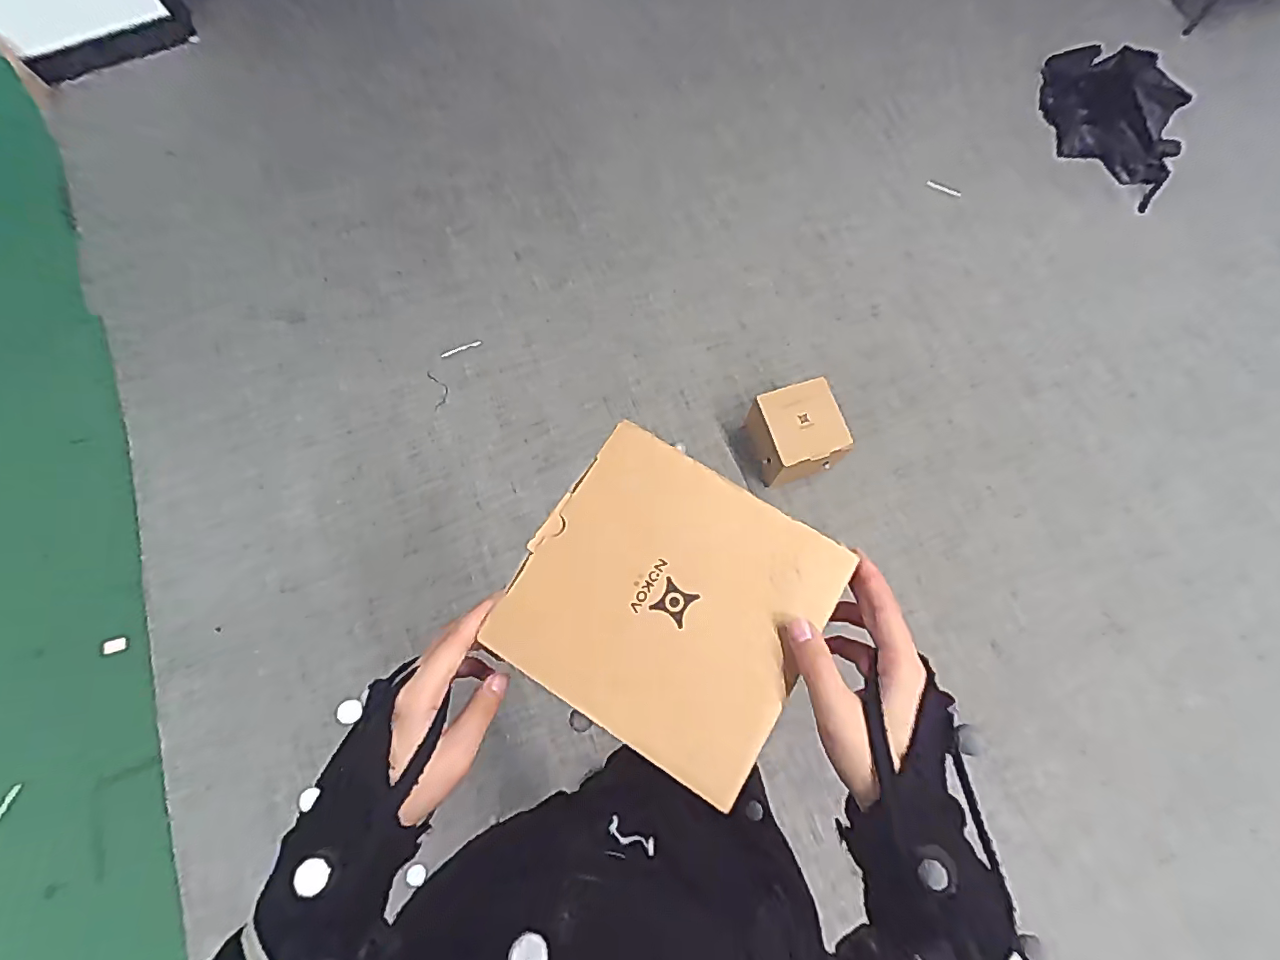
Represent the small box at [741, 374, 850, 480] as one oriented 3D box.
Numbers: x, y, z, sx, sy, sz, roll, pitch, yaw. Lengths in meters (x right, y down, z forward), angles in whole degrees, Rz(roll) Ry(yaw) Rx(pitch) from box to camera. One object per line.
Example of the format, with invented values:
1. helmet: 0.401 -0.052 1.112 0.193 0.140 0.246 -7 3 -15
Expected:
1. small box: 0.349 -0.111 1.246 0.168 0.176 0.179 -17 74 -5
